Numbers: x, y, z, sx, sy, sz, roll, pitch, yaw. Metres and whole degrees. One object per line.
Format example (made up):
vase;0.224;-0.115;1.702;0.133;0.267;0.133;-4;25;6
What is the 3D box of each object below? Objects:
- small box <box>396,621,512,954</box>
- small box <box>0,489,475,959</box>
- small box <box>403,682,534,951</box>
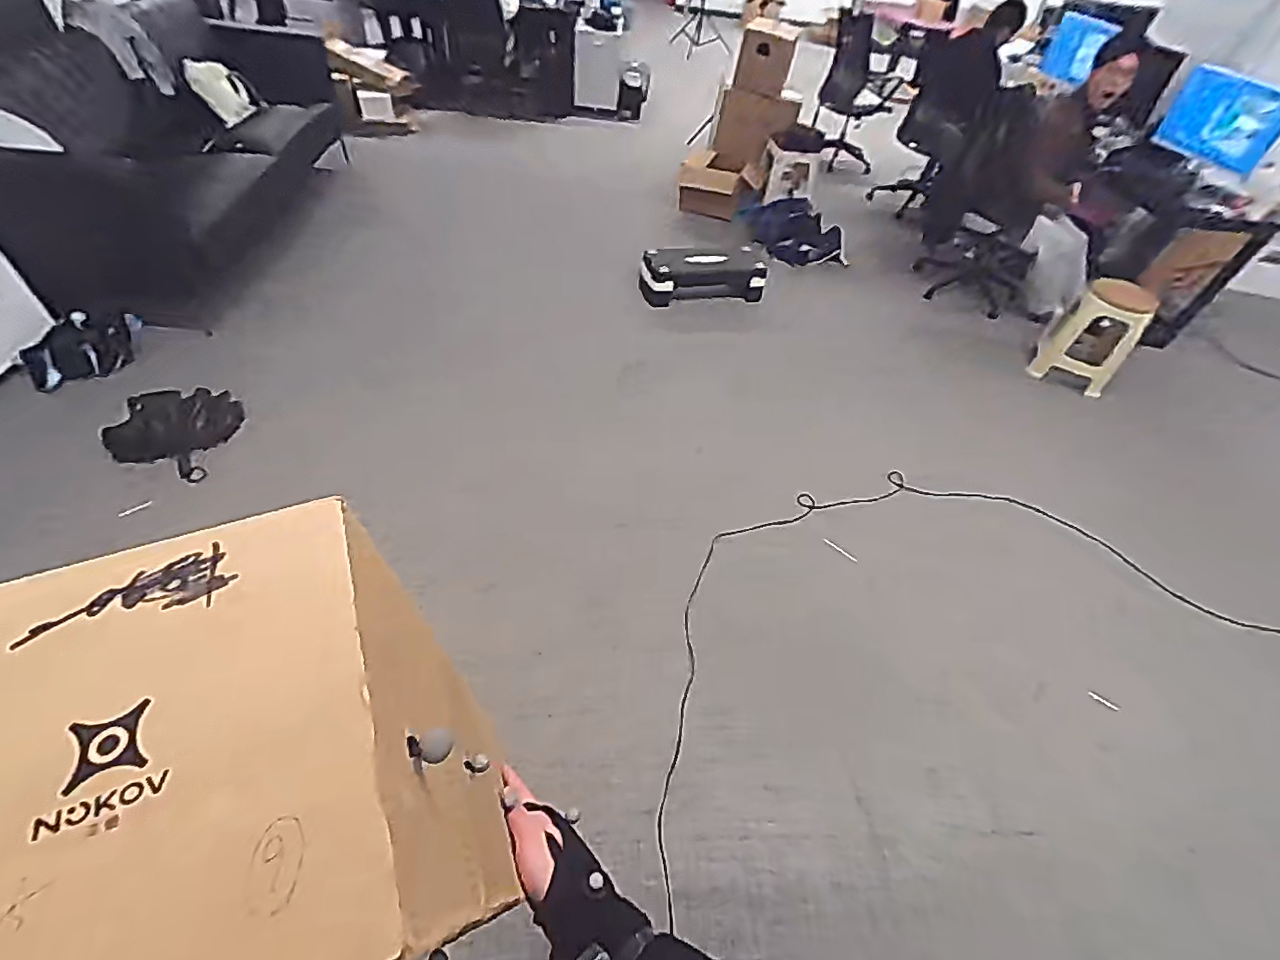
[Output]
small box;-0.197;0.230;0.376;0.168;0.176;0.179;-17;58;-17
small box;-0.183;0.136;0.242;0.168;0.176;0.179;-17;60;-17
small box;-0.207;0.322;0.509;0.168;0.176;0.179;-18;58;-16
